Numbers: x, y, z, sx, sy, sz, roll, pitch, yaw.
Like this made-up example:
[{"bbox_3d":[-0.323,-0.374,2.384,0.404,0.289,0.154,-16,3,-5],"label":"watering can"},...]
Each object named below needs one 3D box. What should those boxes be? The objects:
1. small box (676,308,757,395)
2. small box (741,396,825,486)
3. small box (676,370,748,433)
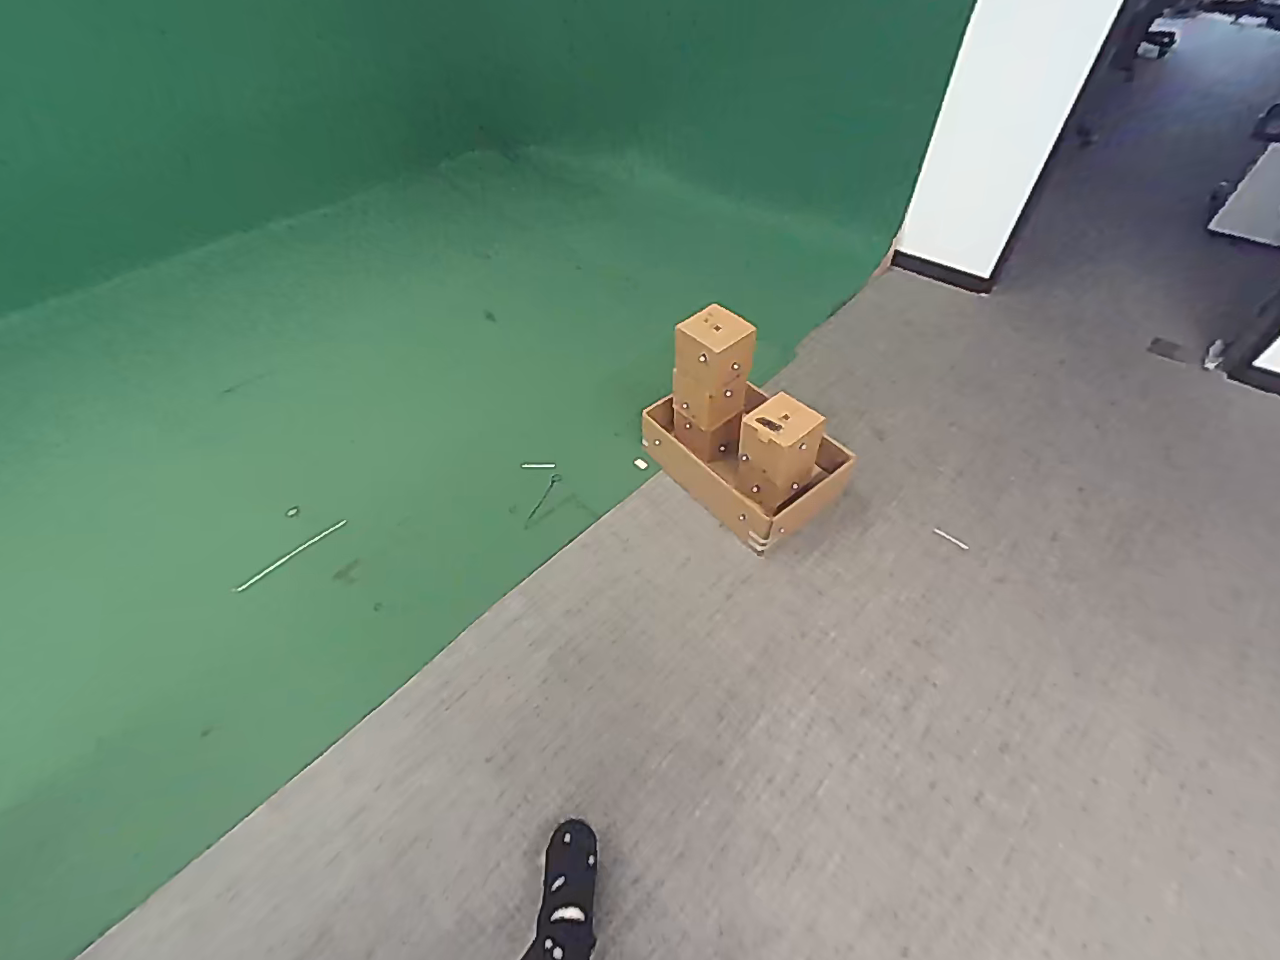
[{"bbox_3d":[0.227,-0.383,1.637,0.168,0.176,0.179,-34,57,-22],"label":"small box"},{"bbox_3d":[0.418,-0.112,1.610,0.179,0.176,0.168,-33,55,-23],"label":"small box"},{"bbox_3d":[0.229,-0.290,1.774,0.179,0.176,0.168,-34,57,-21],"label":"small box"}]
